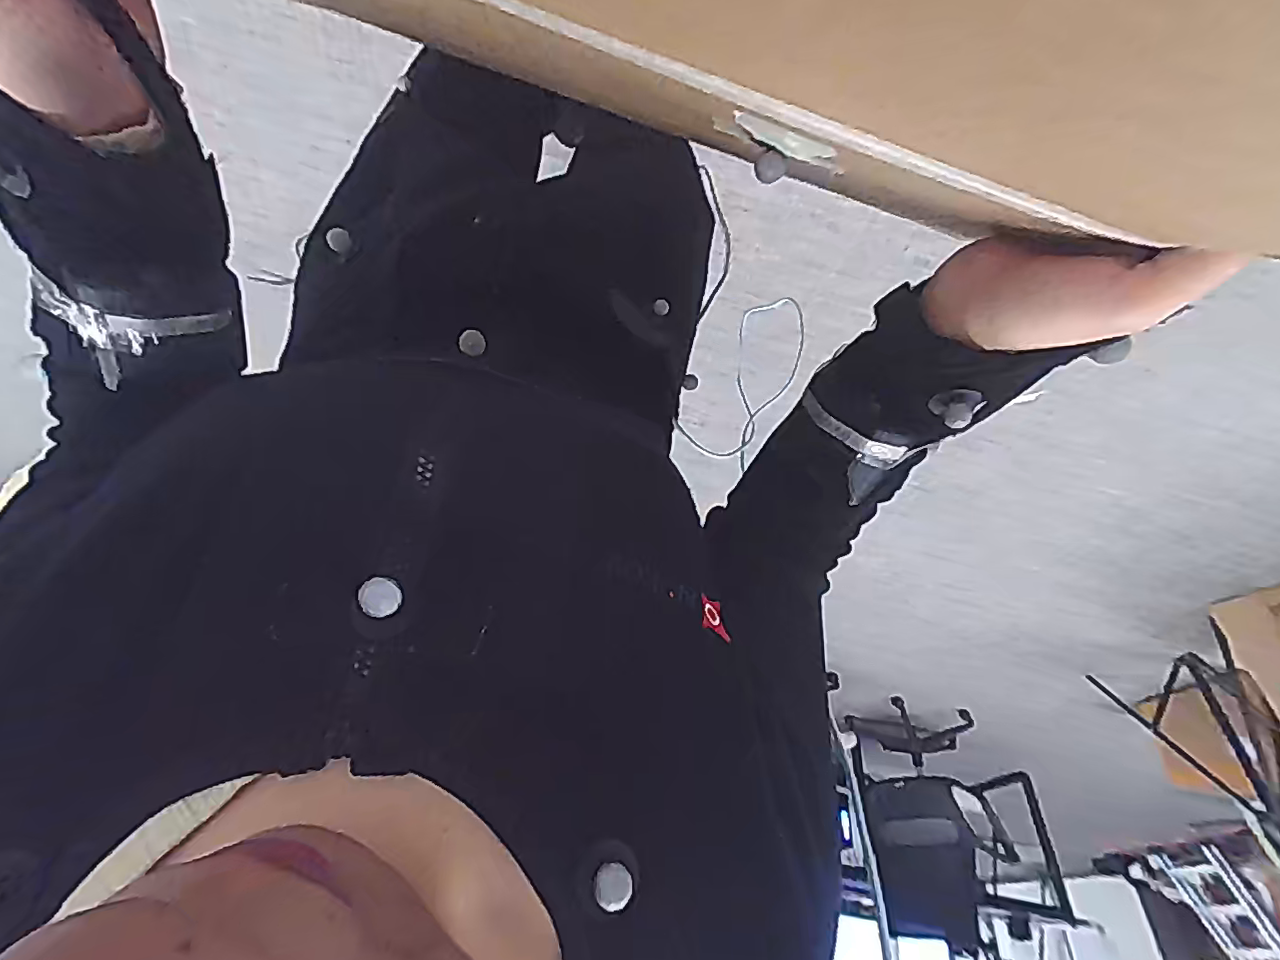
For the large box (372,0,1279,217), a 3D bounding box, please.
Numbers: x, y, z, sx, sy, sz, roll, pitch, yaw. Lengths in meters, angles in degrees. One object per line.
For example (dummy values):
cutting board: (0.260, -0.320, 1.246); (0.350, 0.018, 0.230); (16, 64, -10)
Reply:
large box: (0.036, -0.276, 0.092); (0.408, 0.320, 0.320); (16, 116, -4)
